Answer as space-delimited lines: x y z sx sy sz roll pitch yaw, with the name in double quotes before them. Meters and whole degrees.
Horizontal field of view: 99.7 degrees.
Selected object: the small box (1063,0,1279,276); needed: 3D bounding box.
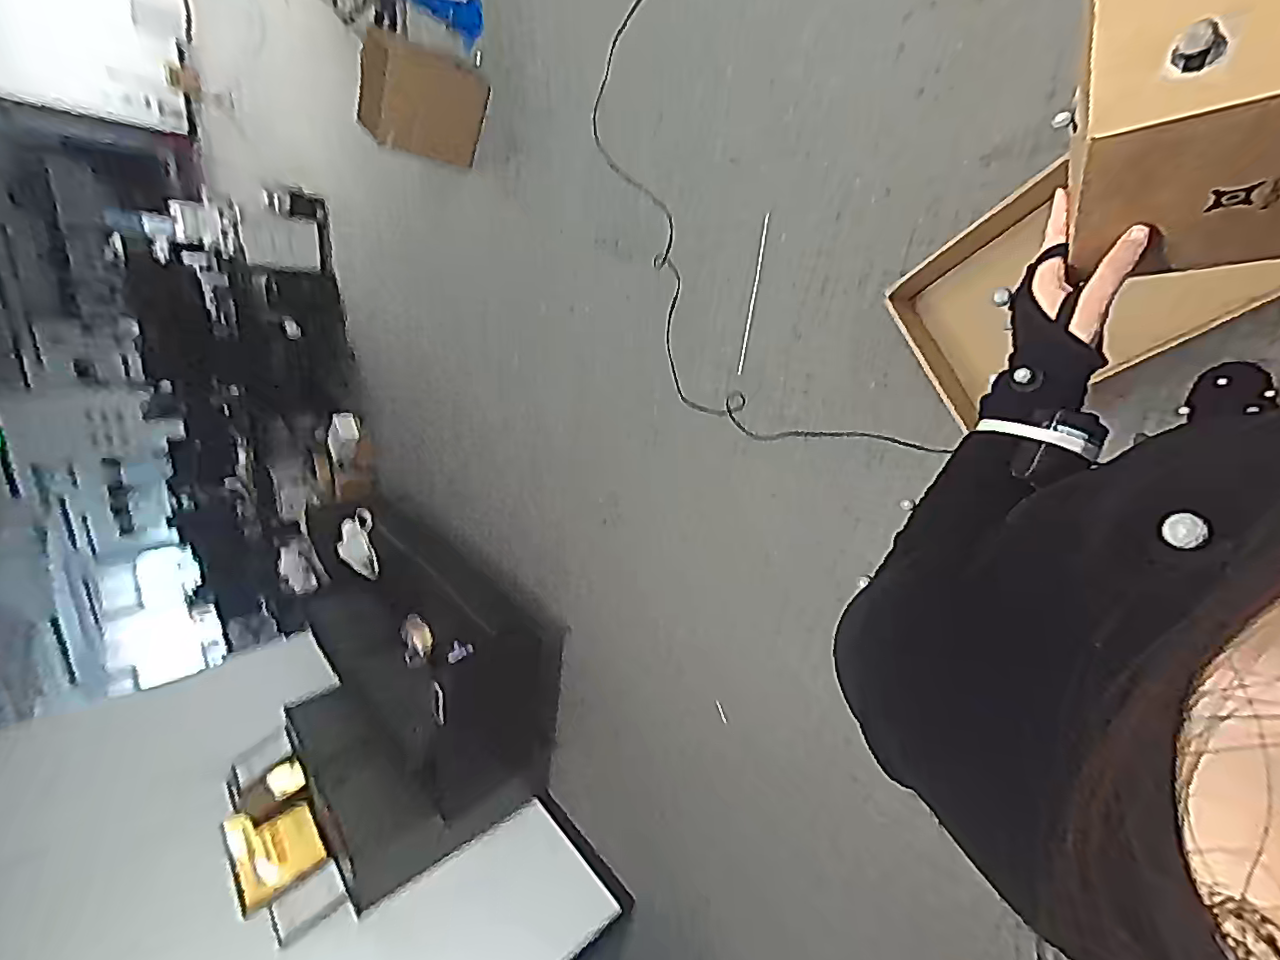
"small box" 0.398 -0.262 0.351 0.179 0.168 0.176 4 81 35
